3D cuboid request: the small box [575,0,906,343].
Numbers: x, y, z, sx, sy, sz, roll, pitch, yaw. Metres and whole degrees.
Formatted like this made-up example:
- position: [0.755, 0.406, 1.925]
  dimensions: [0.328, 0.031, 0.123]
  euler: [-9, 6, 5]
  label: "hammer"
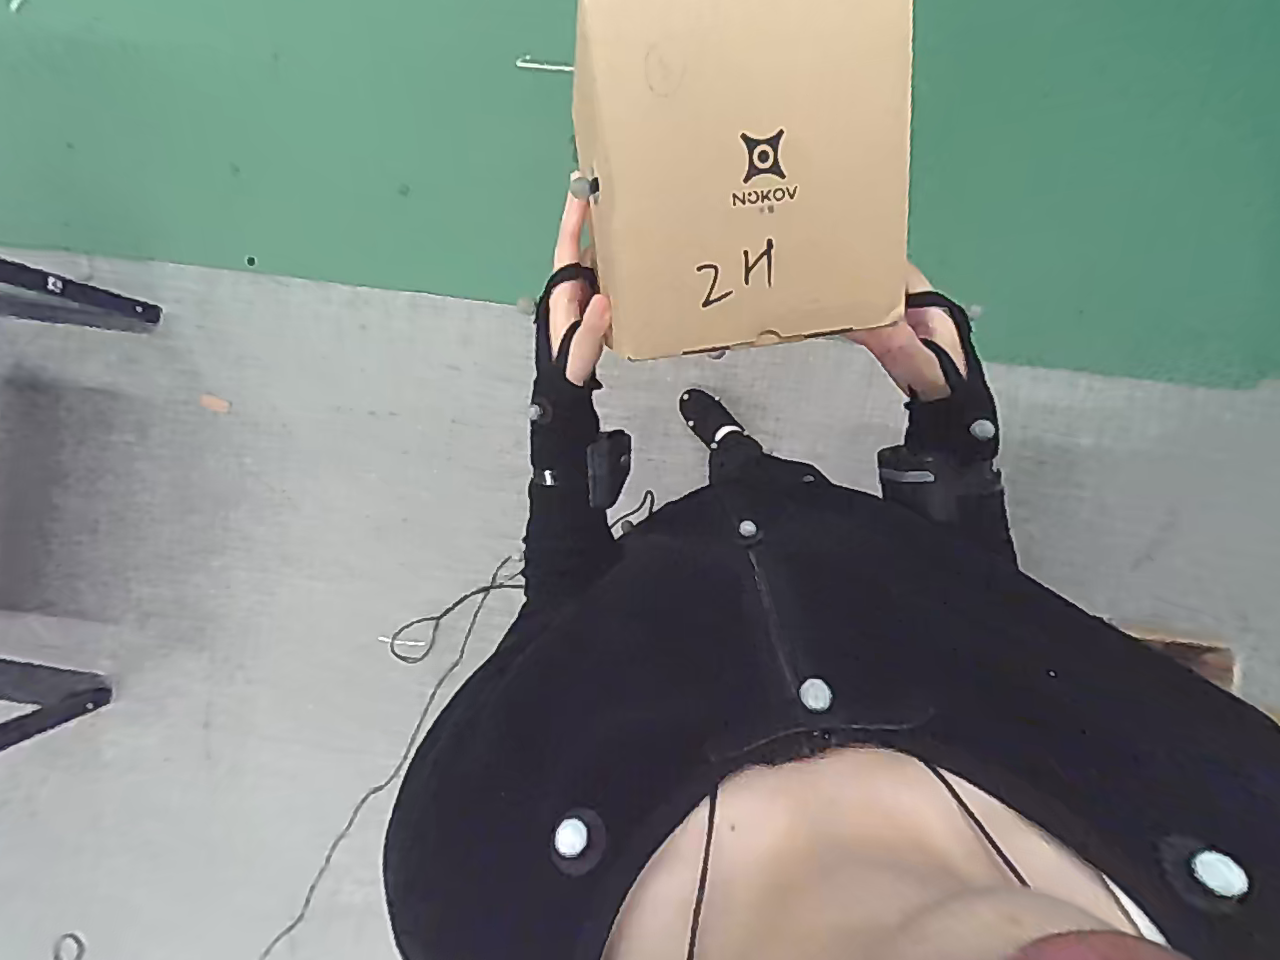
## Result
- position: [0.050, -0.192, 0.362]
  dimensions: [0.168, 0.176, 0.179]
  euler: [-9, 109, -5]
  label: "small box"
